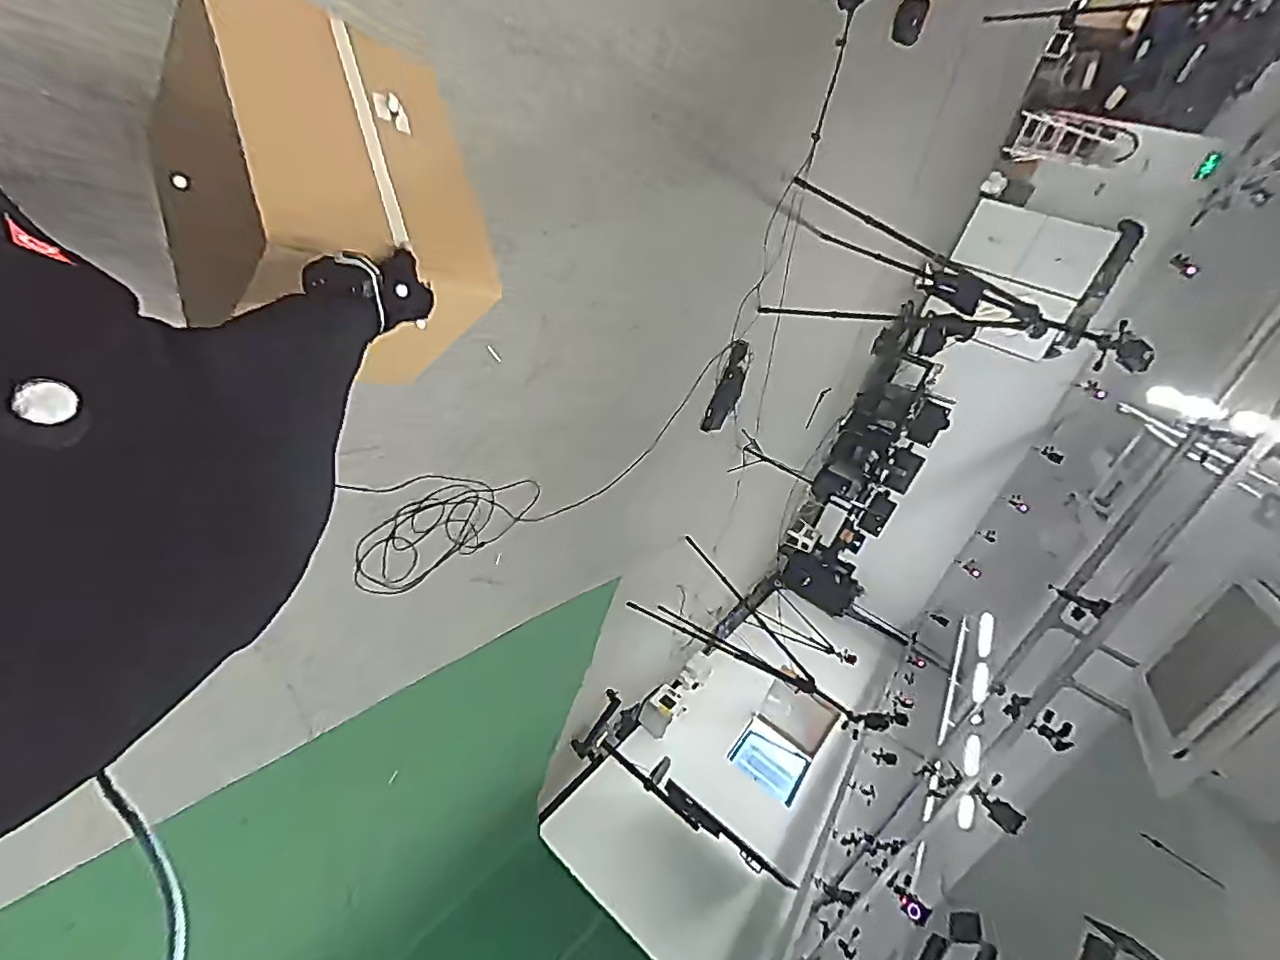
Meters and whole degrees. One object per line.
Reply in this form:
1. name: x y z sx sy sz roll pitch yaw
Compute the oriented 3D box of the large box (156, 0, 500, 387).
1. large box: -0.478 -0.388 0.827 0.320 0.408 0.320 -26 170 36
